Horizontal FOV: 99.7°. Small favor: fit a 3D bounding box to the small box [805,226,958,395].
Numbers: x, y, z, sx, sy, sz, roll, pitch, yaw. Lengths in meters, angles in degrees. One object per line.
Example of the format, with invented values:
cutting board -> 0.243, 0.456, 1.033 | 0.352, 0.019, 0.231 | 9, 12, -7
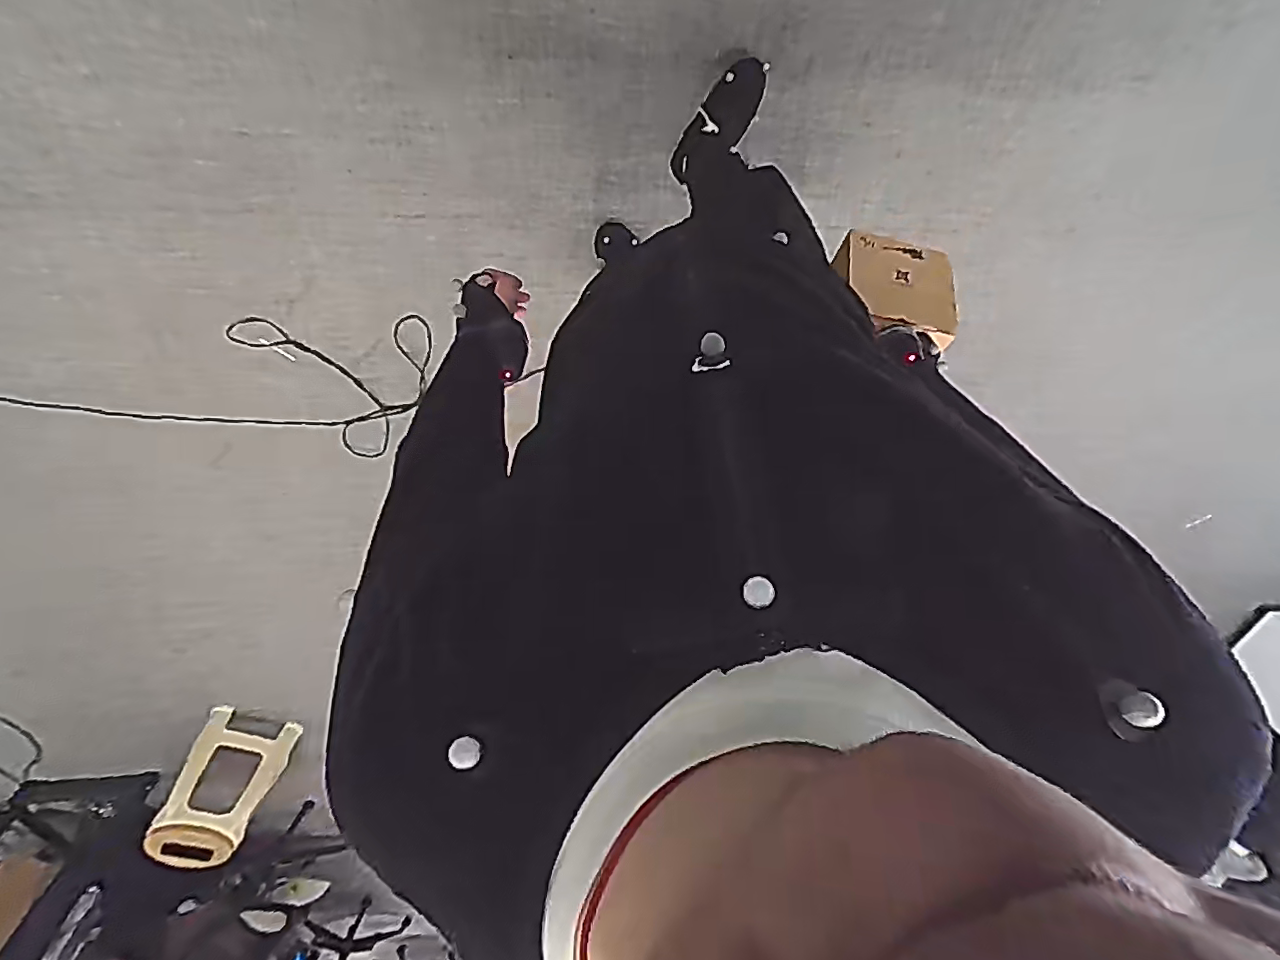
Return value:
small box -> 0.379, -0.263, 0.870 | 0.168, 0.179, 0.176 | 15, 154, -2
